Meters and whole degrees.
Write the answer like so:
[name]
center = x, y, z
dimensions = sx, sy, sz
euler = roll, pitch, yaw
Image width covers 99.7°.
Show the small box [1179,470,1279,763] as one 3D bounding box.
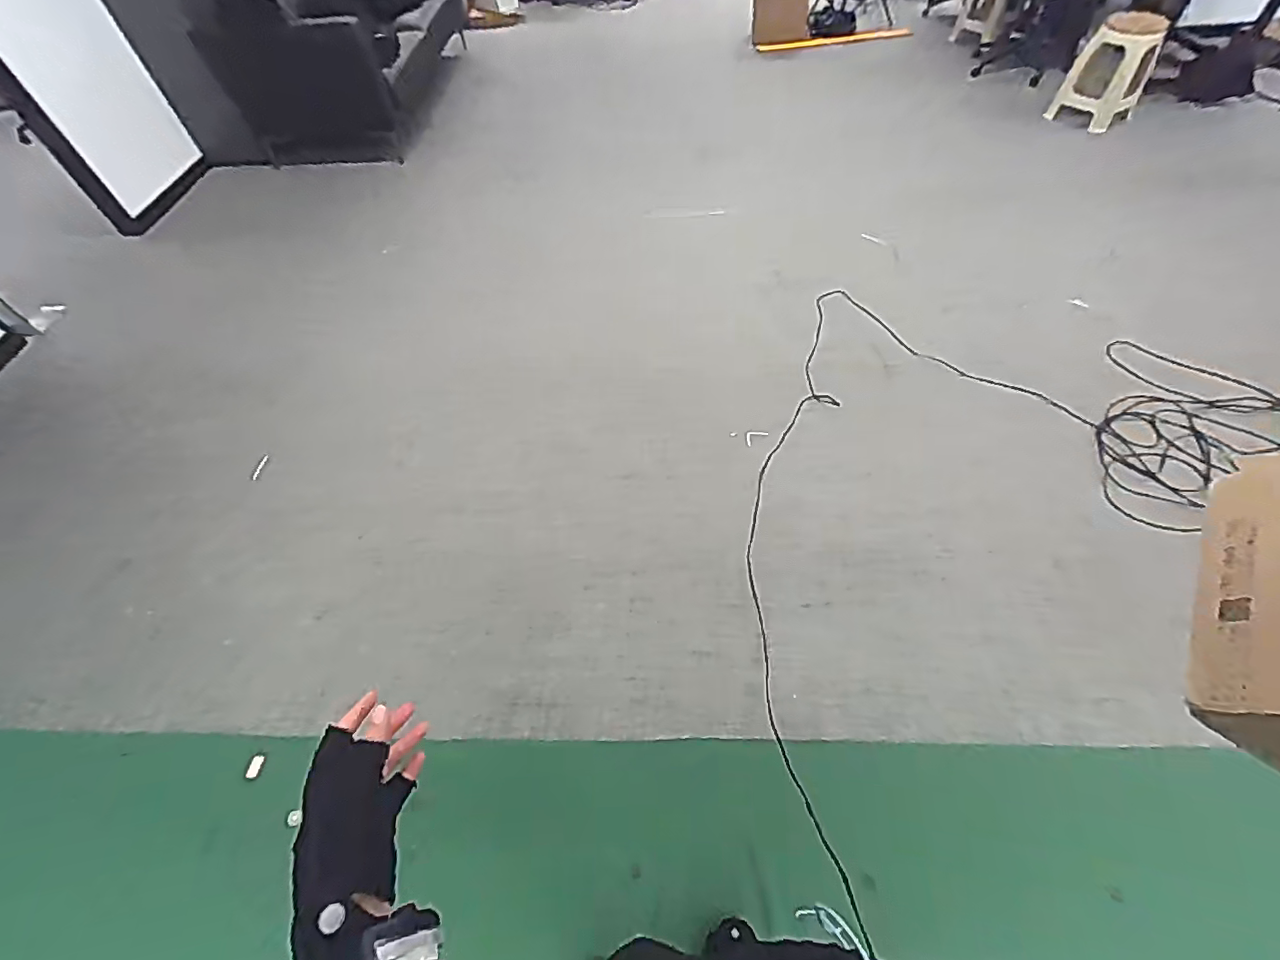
[small box]
center = 0.417, 0.077, 0.245
dimensions = 0.179, 0.176, 0.168
euler = 33, 67, 1
